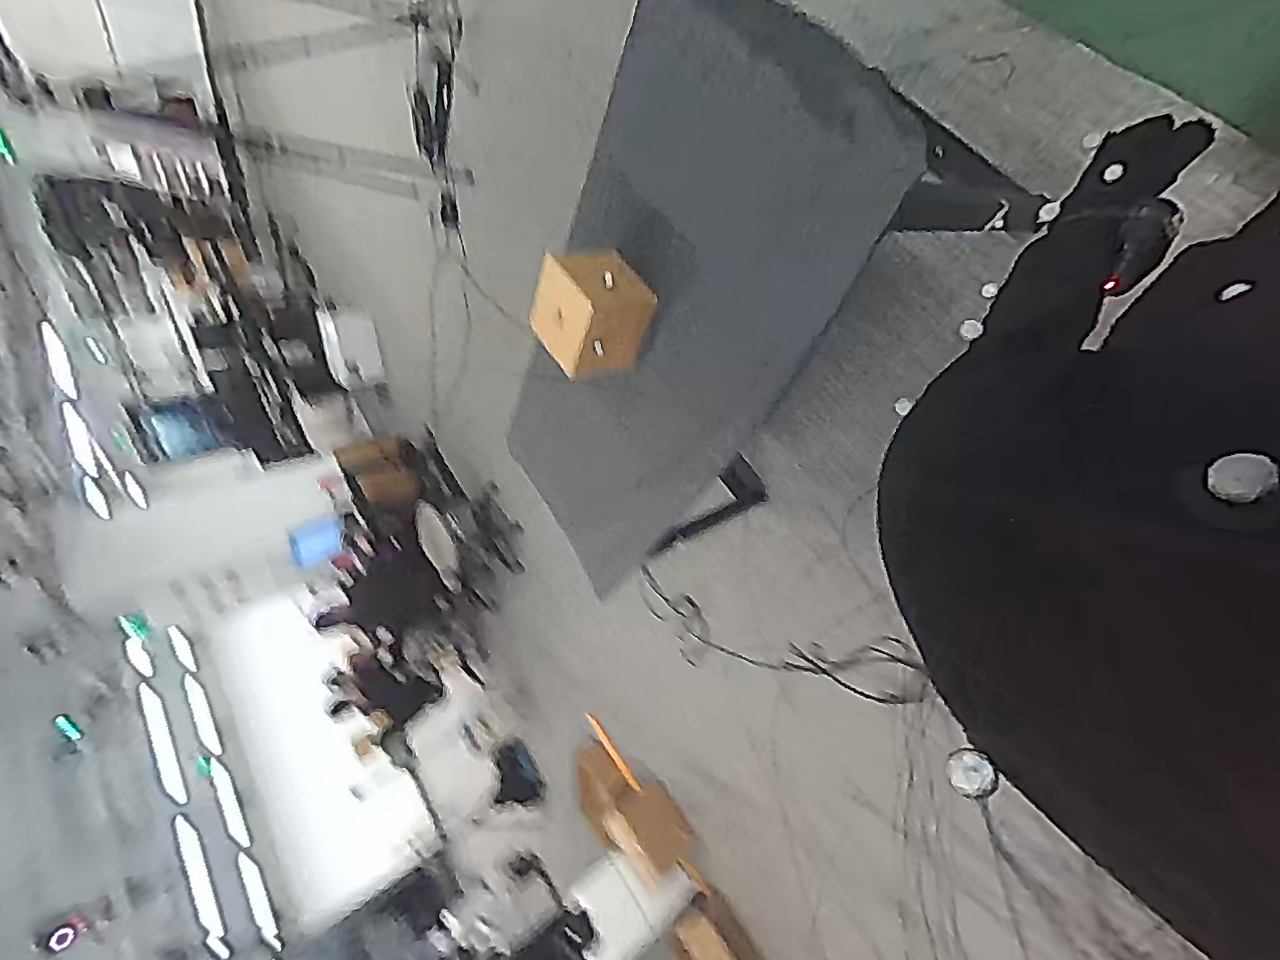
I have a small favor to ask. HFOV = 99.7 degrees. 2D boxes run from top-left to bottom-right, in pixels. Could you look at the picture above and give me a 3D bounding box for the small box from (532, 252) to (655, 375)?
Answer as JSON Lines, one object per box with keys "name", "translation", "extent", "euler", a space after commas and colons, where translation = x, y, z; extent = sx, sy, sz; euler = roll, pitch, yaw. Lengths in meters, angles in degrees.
{"name": "small box", "translation": [-0.093, -0.347, 1.106], "extent": [0.168, 0.176, 0.179], "euler": [52, 141, 21]}
